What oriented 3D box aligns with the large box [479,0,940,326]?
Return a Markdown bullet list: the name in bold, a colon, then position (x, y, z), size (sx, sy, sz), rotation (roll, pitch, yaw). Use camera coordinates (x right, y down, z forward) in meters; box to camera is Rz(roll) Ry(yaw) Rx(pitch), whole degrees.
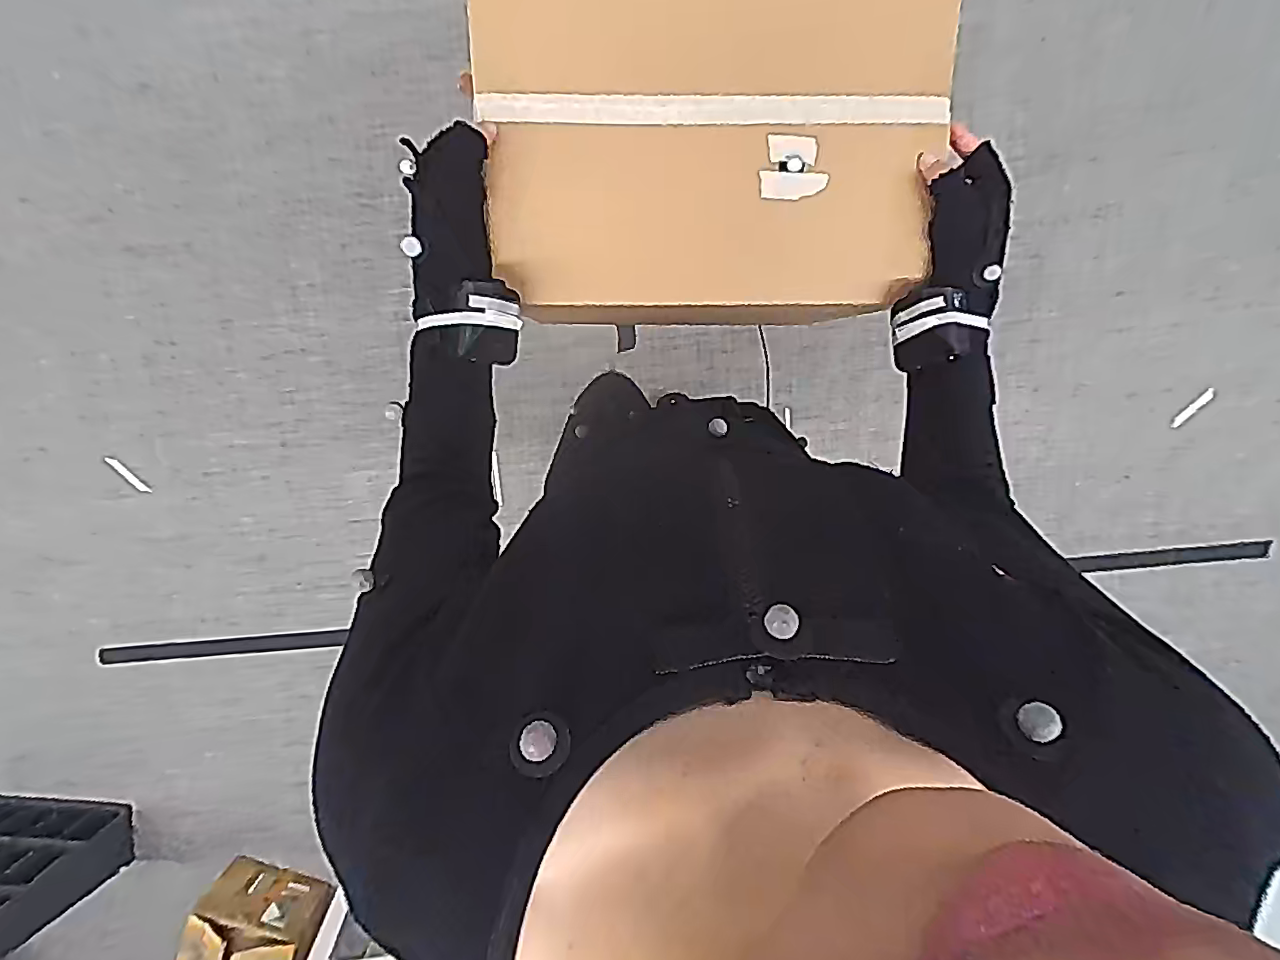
- **large box**: position (0.056, -0.353, 0.627), size (0.408, 0.320, 0.320), rotation (-1, 103, -3)
